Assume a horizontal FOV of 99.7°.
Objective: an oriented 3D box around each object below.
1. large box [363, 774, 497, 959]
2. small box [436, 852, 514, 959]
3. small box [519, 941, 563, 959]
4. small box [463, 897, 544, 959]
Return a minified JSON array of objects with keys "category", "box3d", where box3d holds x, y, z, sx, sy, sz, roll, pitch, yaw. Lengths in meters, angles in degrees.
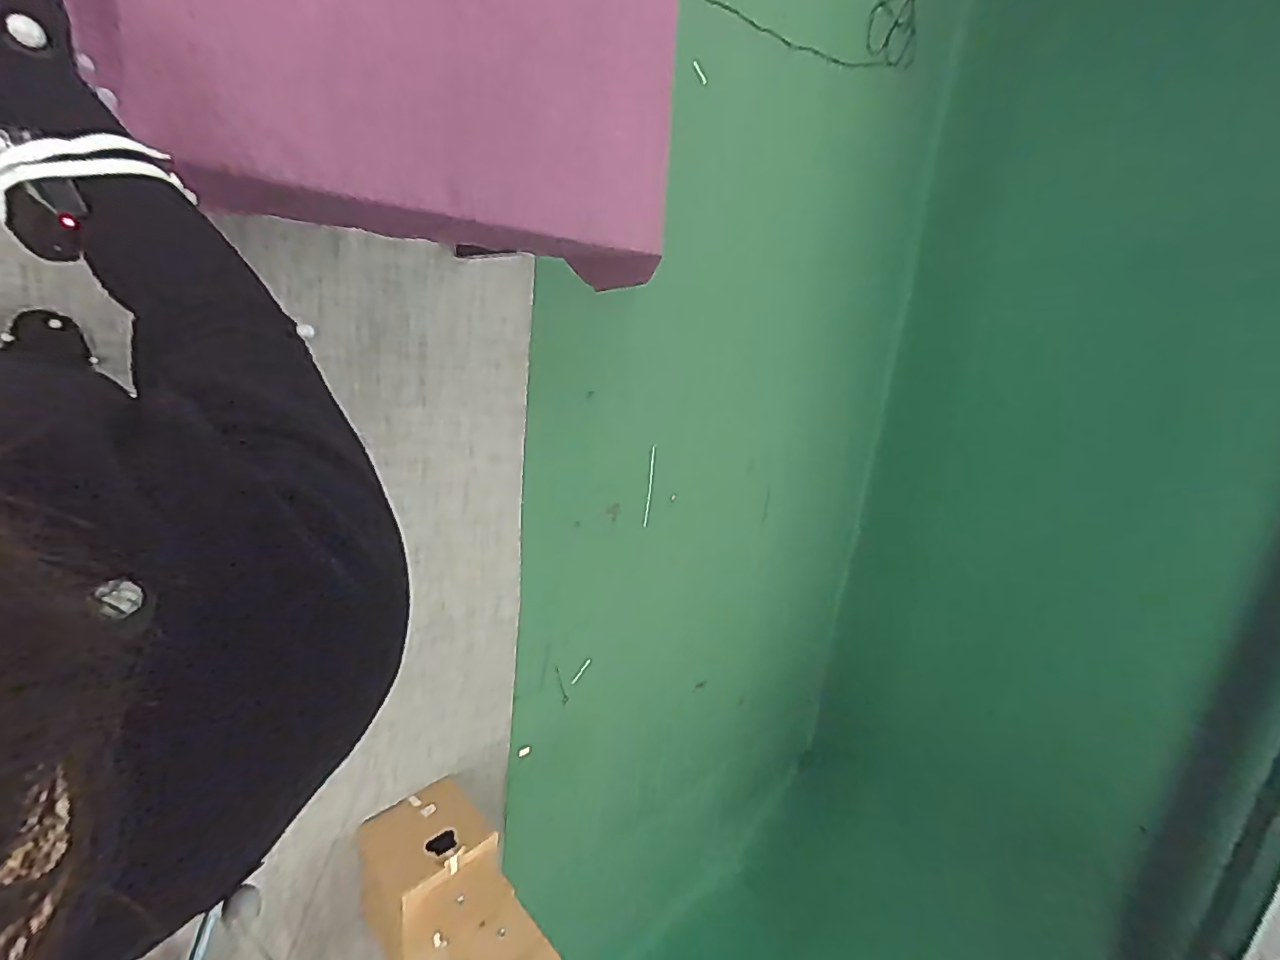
[{"category":"large box","box3d":[-0.694,1.298,1.797,0.320,0.320,0.408,-11,113,-45]},{"category":"small box","box3d":[-0.501,1.288,1.631,0.179,0.176,0.168,-13,114,-45]},{"category":"small box","box3d":[-0.268,1.374,1.416,0.168,0.176,0.179,-15,115,-44]},{"category":"small box","box3d":[-0.385,1.334,1.525,0.168,0.176,0.179,-17,117,-43]}]
